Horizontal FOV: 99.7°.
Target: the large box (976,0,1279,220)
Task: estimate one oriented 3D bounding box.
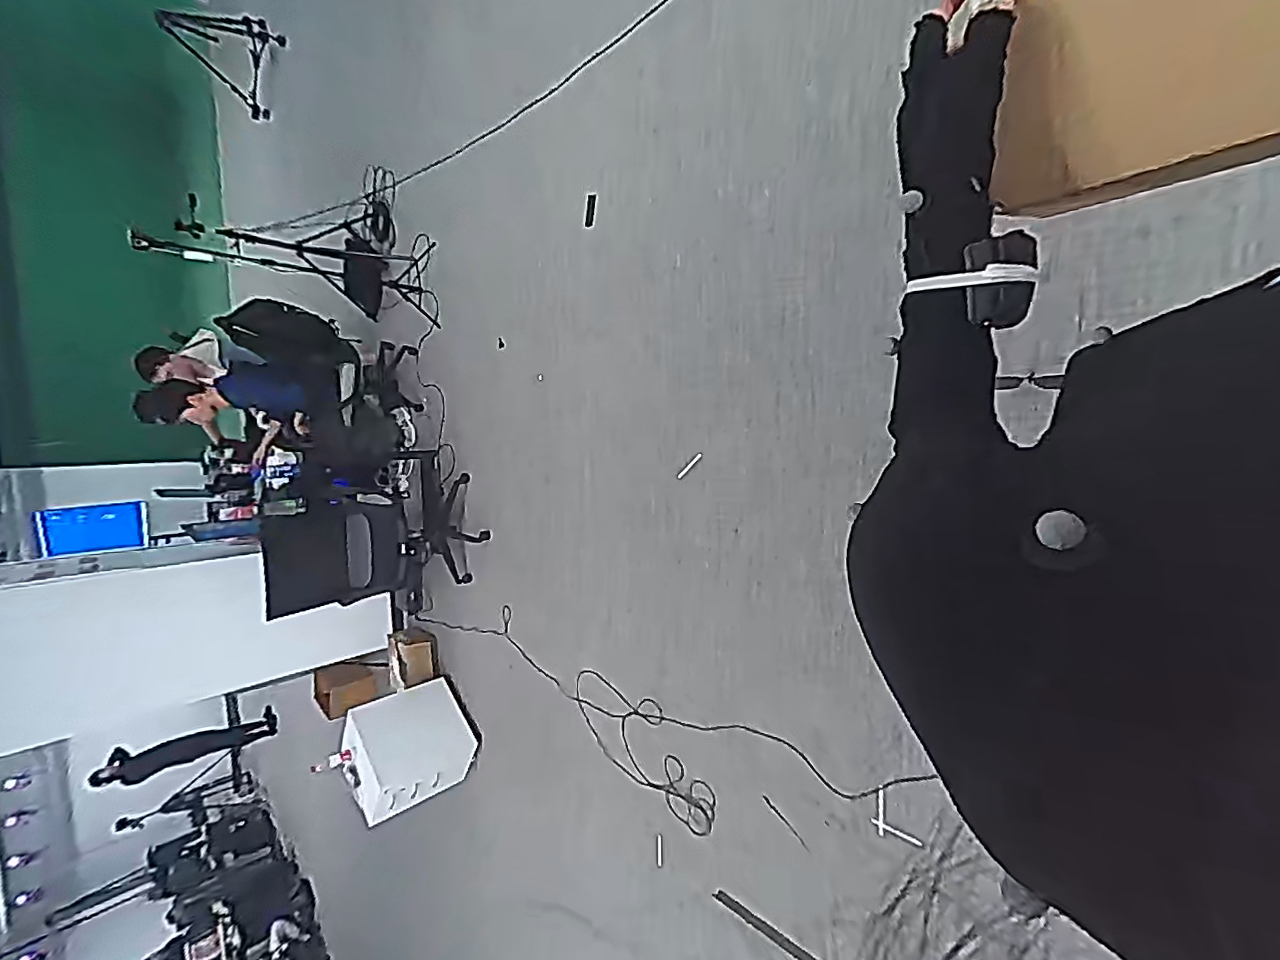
[{"bbox_3d":[0.493,-0.416,0.384,0.408,0.320,0.320,-1,108,42],"label":"large box"}]
